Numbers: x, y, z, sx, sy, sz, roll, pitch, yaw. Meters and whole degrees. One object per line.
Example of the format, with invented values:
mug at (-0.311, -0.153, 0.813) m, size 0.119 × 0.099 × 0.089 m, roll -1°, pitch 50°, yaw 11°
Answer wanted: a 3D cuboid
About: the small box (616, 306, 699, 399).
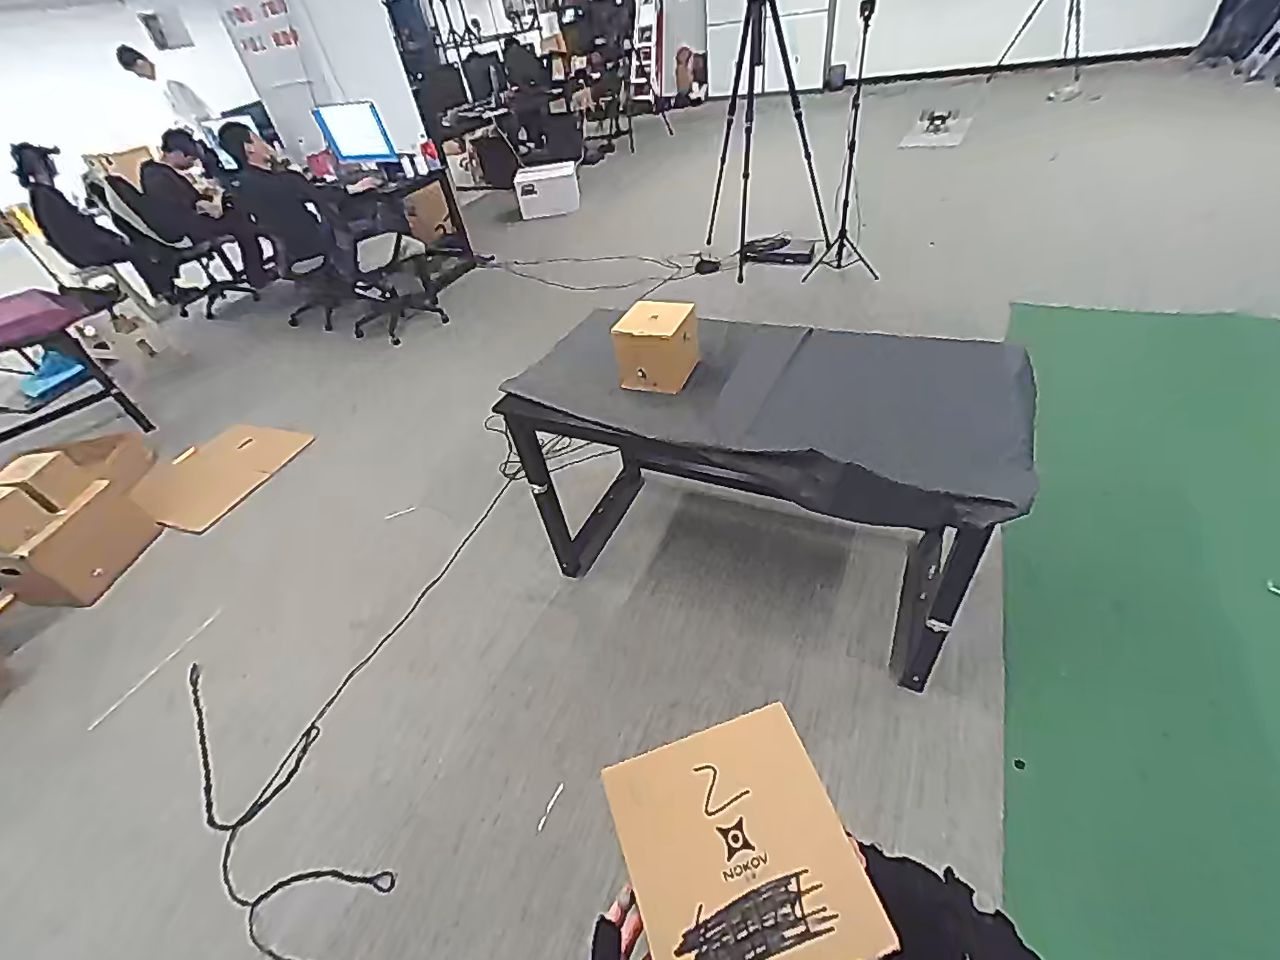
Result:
small box at (0.053, -0.340, 1.432) m, size 0.168 × 0.176 × 0.179 m, roll 12°, pitch 46°, yaw 22°
